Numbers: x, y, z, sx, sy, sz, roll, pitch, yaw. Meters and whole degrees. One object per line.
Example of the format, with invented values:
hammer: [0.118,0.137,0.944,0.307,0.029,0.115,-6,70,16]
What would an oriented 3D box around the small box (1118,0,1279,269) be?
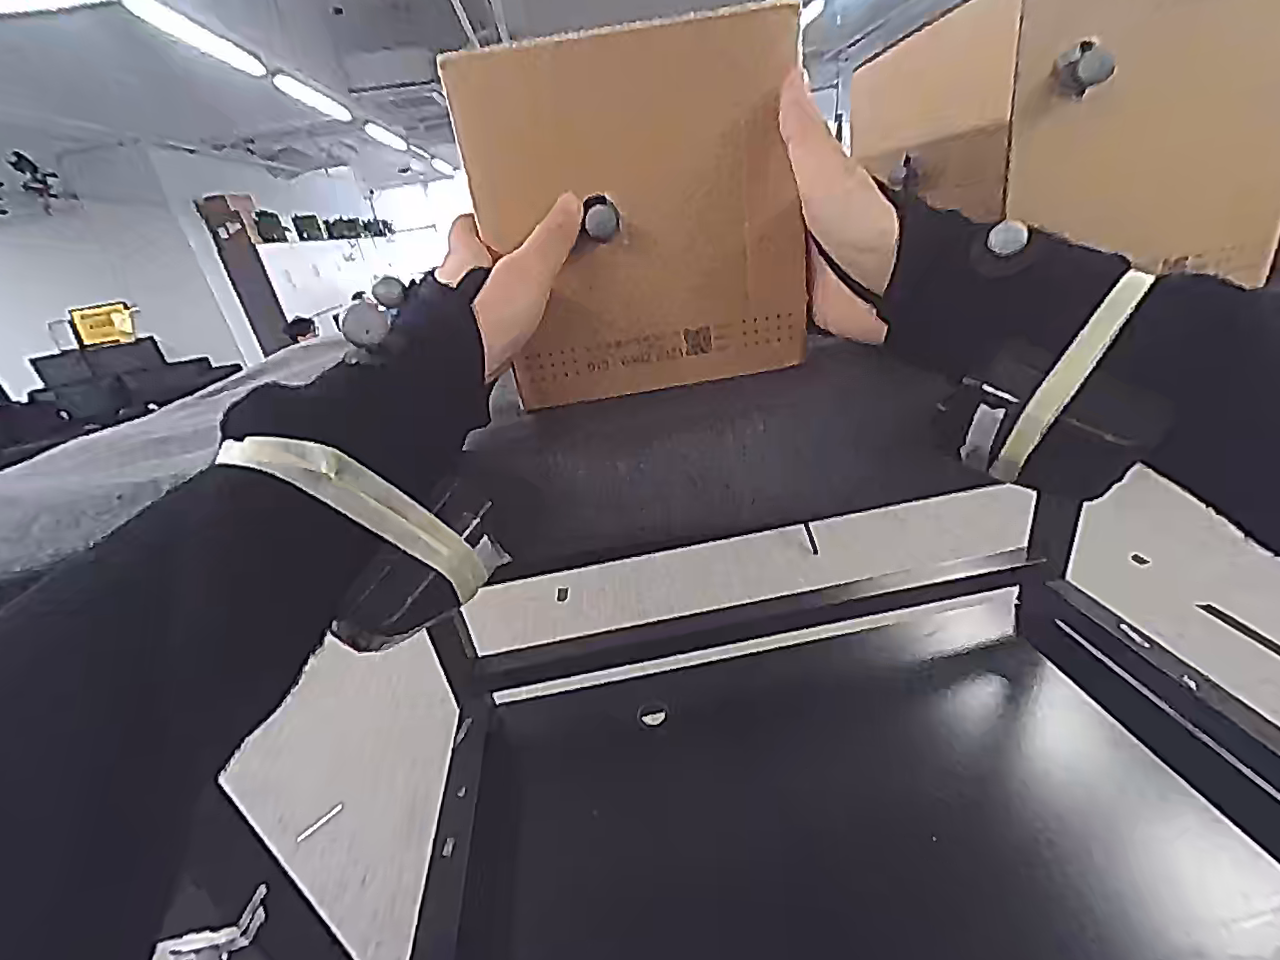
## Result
small box: [0.472,-0.239,0.352,0.168,0.176,0.179,-11,25,-1]

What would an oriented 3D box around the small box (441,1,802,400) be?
small box: [-0.002,-0.156,0.347,0.168,0.176,0.179,-10,24,0]
